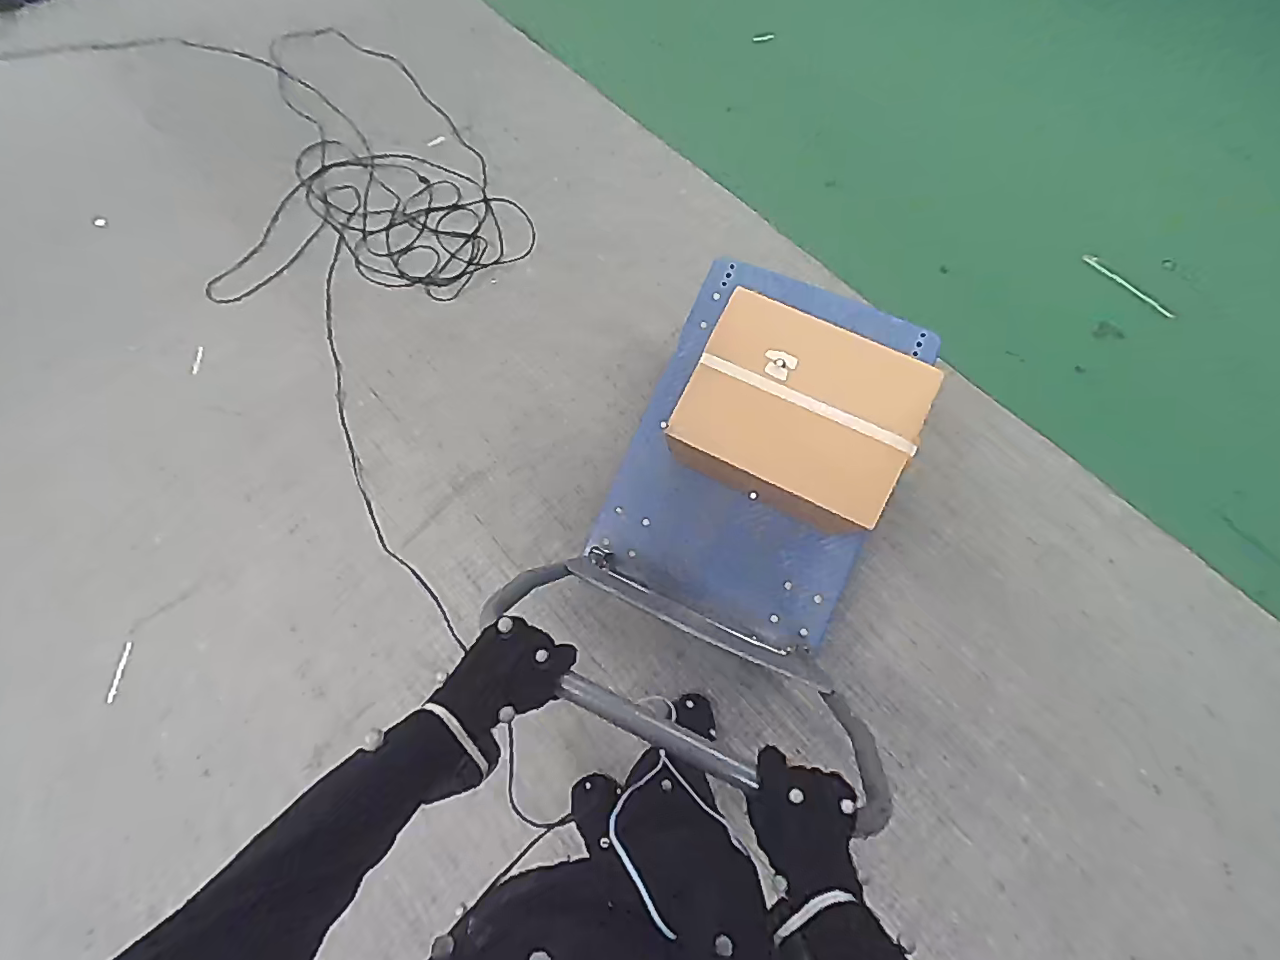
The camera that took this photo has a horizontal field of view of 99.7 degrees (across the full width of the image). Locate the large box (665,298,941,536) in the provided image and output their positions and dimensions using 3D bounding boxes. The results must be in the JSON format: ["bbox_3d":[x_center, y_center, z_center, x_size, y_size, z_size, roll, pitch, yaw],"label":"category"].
[{"bbox_3d":[0.308,-0.105,1.115,0.408,0.320,0.320,27,86,10],"label":"large box"}]
